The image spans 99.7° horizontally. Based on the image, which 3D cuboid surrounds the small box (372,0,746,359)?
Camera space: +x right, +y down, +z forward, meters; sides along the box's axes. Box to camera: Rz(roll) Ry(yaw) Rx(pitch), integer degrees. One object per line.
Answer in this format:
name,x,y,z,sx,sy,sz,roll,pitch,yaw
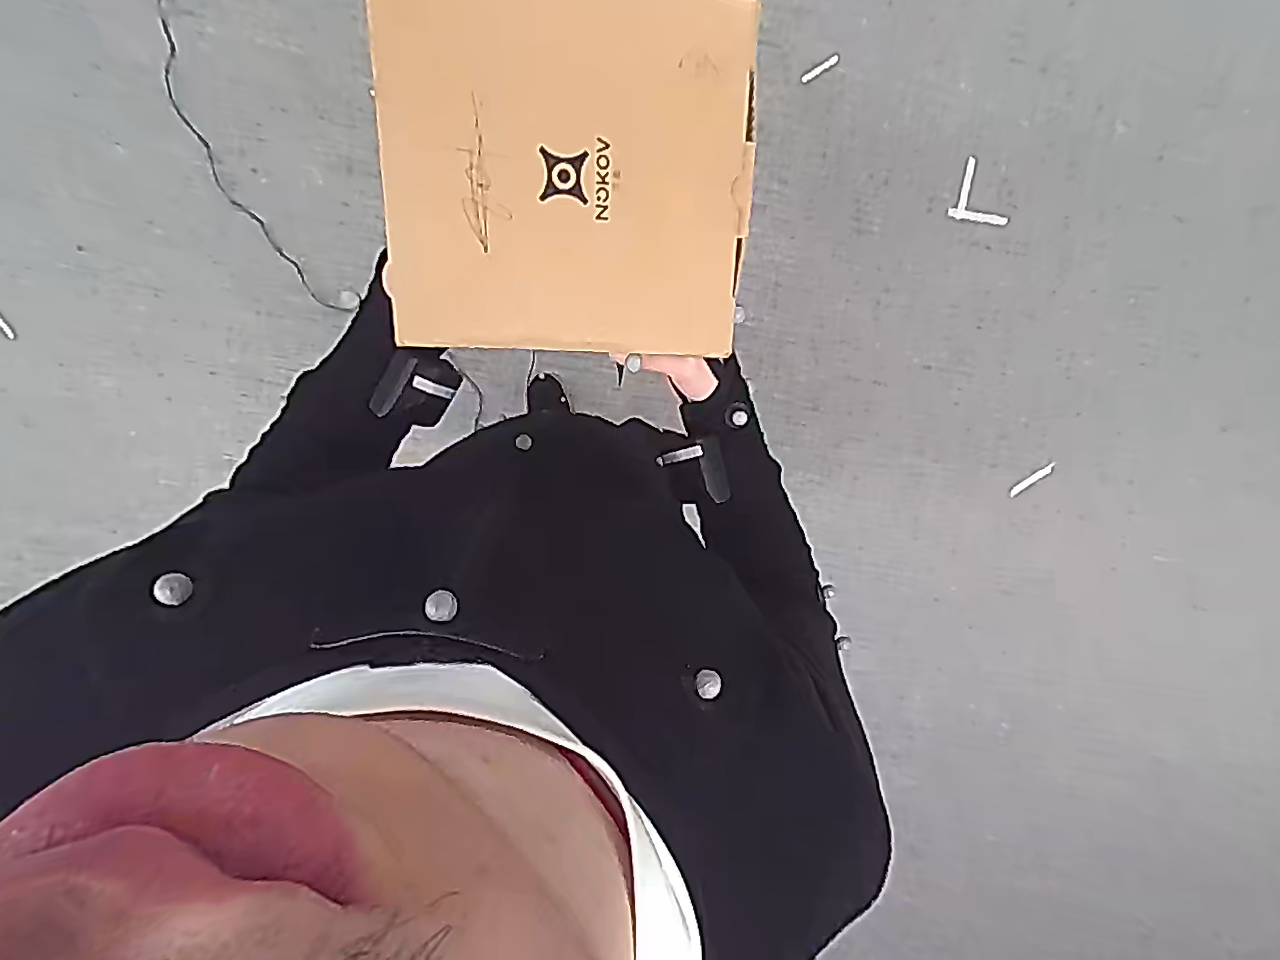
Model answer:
small box,-0.048,-0.170,0.347,0.179,0.176,0.168,0,105,-8
